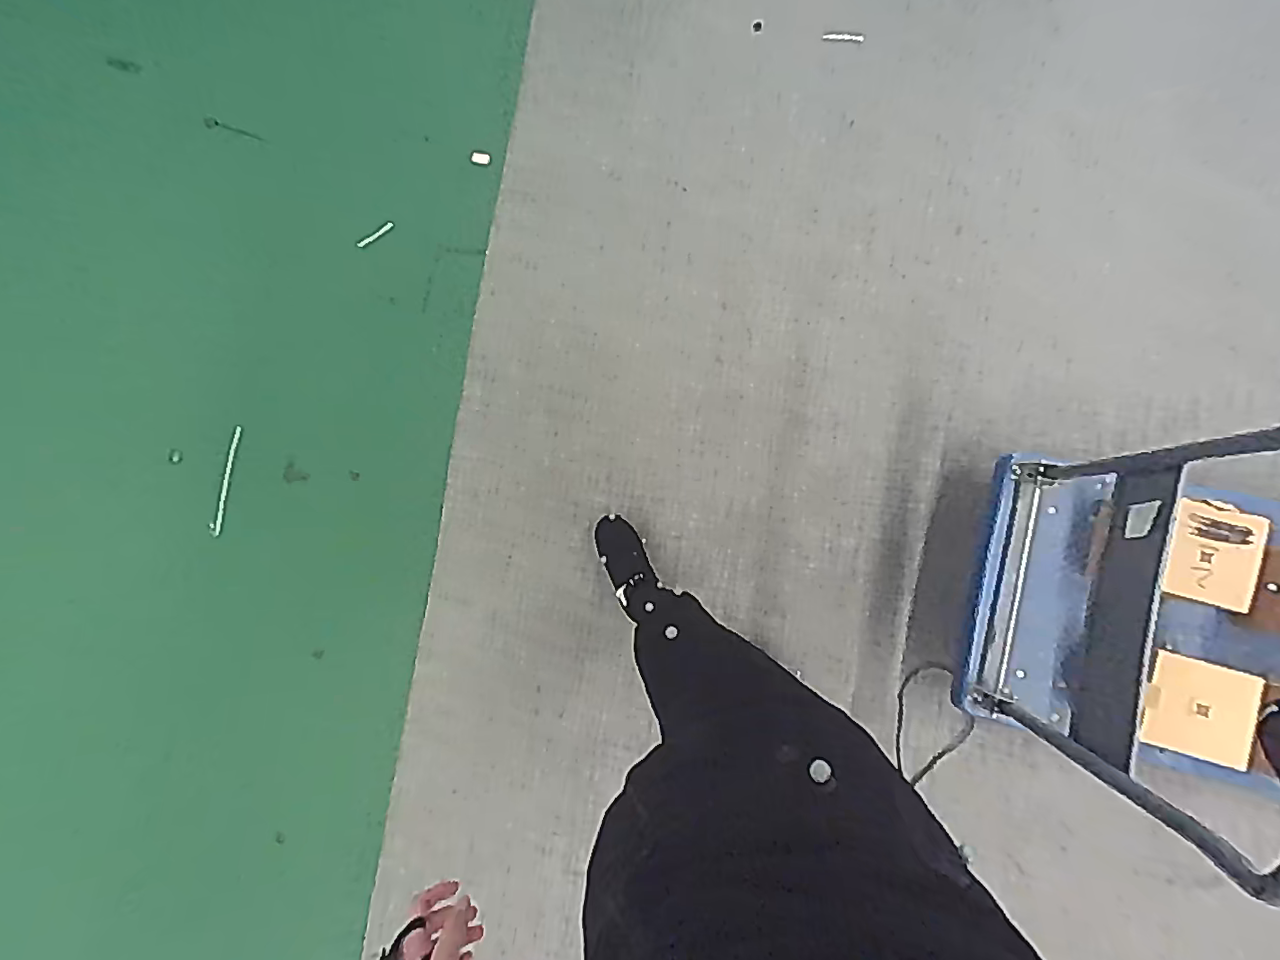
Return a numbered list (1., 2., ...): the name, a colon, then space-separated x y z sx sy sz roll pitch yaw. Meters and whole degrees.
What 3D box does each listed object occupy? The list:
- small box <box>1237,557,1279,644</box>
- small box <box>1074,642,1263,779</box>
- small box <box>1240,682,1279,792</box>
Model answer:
1. small box: 1.277 0.238 0.996 0.179 0.176 0.168 10 87 7
2. small box: 0.980 0.420 1.018 0.179 0.176 0.168 15 87 9
3. small box: 1.217 0.485 0.982 0.179 0.176 0.168 12 86 8
